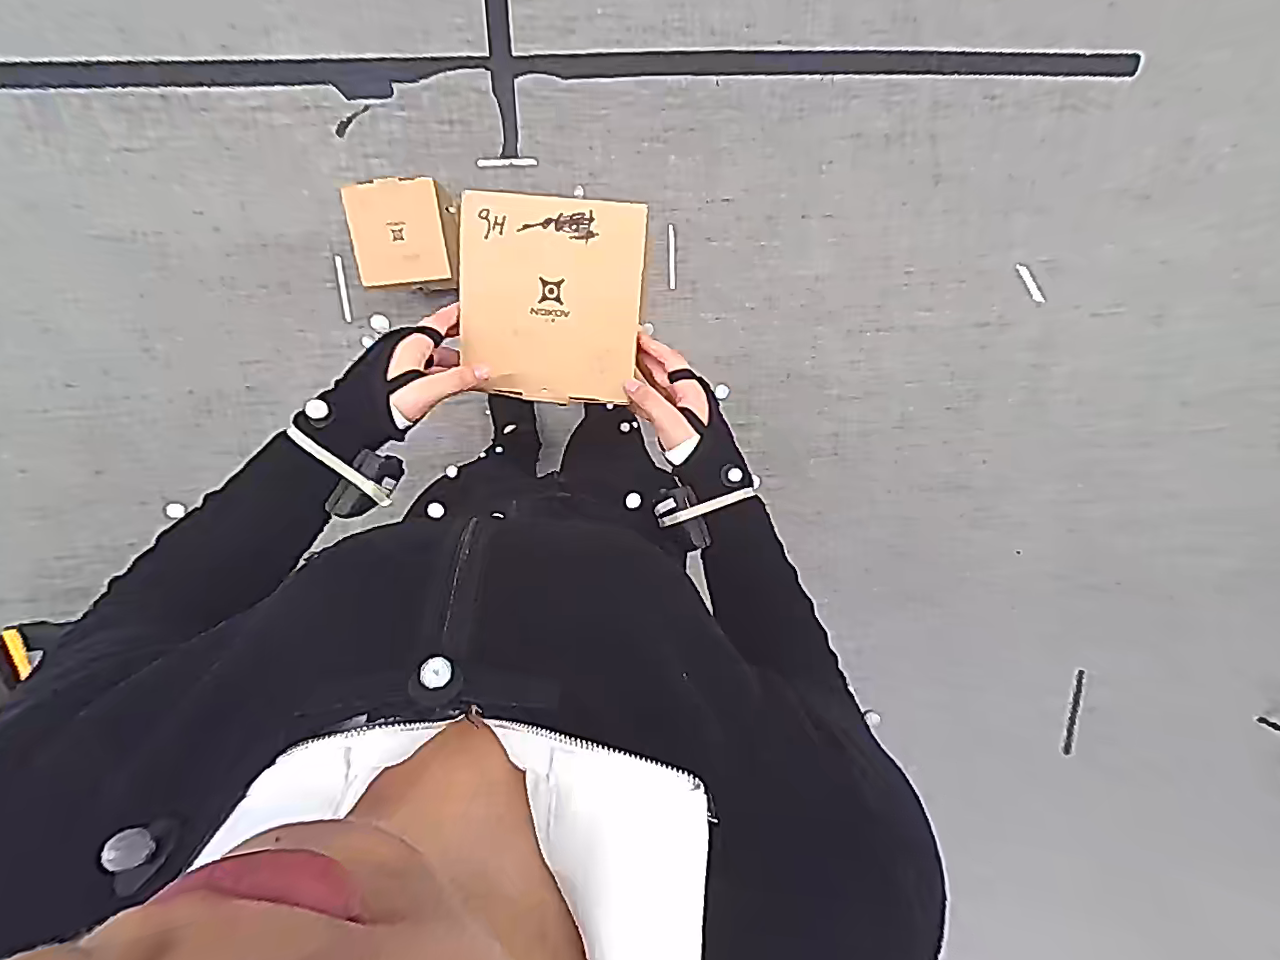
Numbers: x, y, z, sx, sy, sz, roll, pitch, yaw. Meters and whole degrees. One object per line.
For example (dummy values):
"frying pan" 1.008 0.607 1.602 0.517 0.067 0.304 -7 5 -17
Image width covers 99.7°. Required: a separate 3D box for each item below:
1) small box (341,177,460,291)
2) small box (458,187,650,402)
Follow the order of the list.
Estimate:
"small box" -0.453 -0.477 1.067 0.168 0.176 0.179 -8 108 -3
"small box" -0.080 -0.187 0.570 0.168 0.176 0.179 6 105 2
